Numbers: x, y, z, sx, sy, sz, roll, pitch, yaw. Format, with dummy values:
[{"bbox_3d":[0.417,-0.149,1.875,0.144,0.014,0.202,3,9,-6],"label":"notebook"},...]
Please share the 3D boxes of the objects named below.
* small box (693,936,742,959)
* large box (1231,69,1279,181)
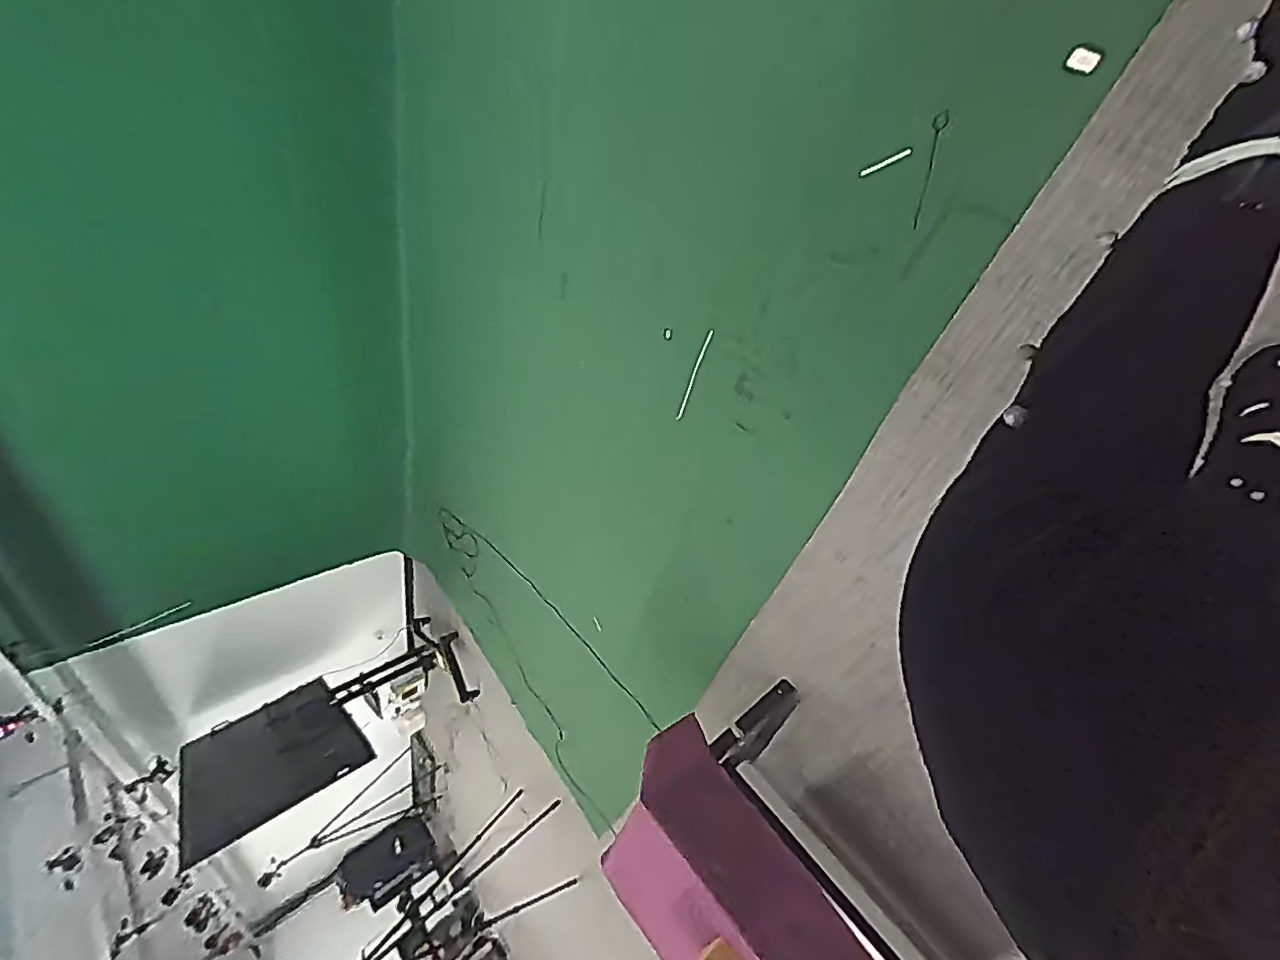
[{"bbox_3d":[0.194,1.330,1.390,0.168,0.176,0.179,43,134,29],"label":"small box"},{"bbox_3d":[1.044,-0.552,0.630,0.320,0.320,0.408,43,133,29],"label":"large box"}]
